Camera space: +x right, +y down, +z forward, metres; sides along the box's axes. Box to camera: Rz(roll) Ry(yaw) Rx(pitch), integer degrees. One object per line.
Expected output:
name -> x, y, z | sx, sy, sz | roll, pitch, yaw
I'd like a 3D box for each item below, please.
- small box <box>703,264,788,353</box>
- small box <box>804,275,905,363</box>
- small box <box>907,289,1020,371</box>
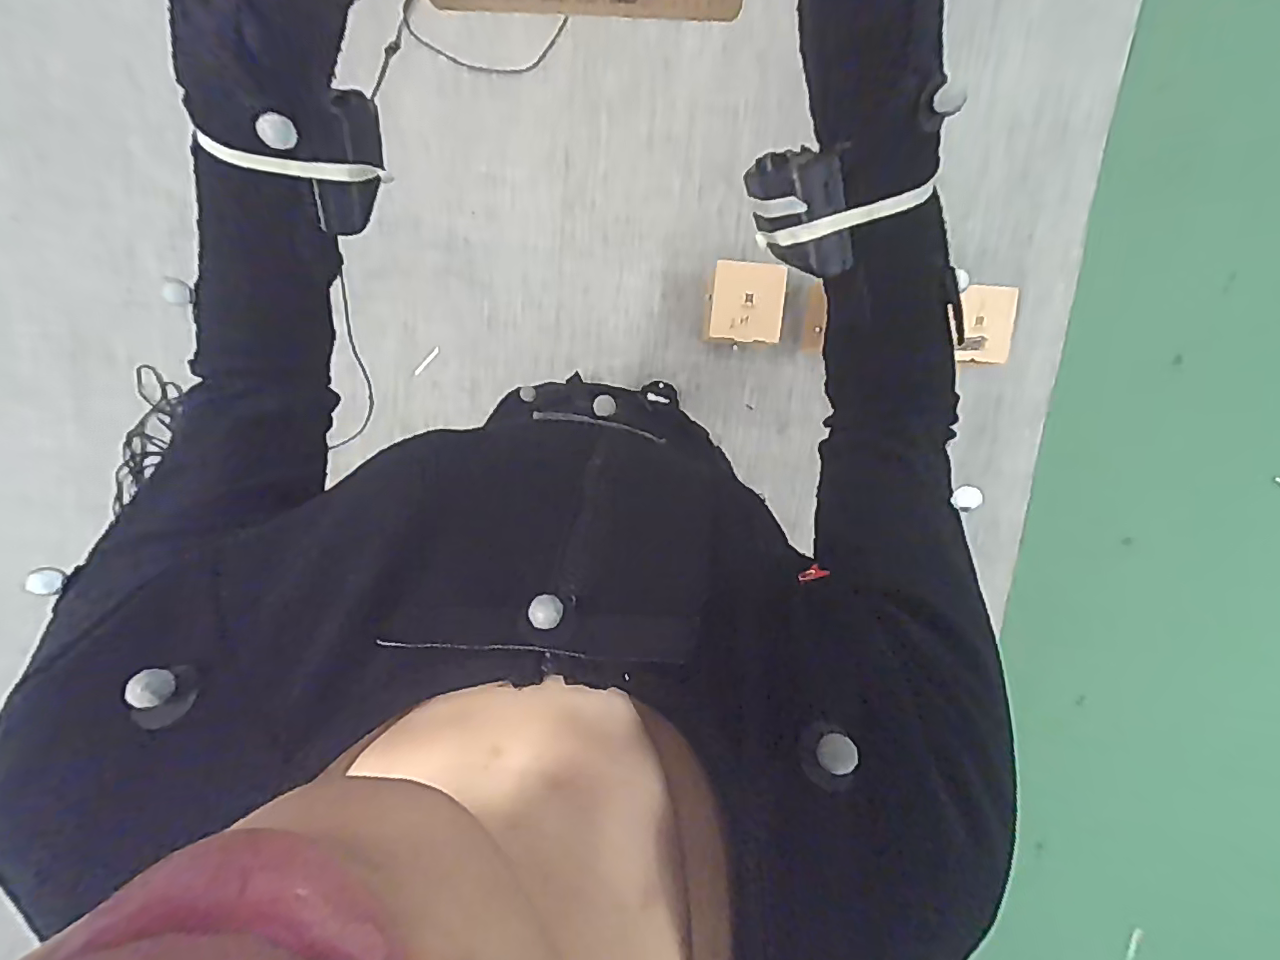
small box -> 0.249, -0.411, 1.318 | 0.168, 0.176, 0.179 | 5, 100, 0
small box -> 0.516, -0.387, 1.326 | 0.168, 0.176, 0.179 | 7, 100, -1
small box -> 0.784, -0.362, 1.330 | 0.168, 0.176, 0.179 | 4, 99, -1
